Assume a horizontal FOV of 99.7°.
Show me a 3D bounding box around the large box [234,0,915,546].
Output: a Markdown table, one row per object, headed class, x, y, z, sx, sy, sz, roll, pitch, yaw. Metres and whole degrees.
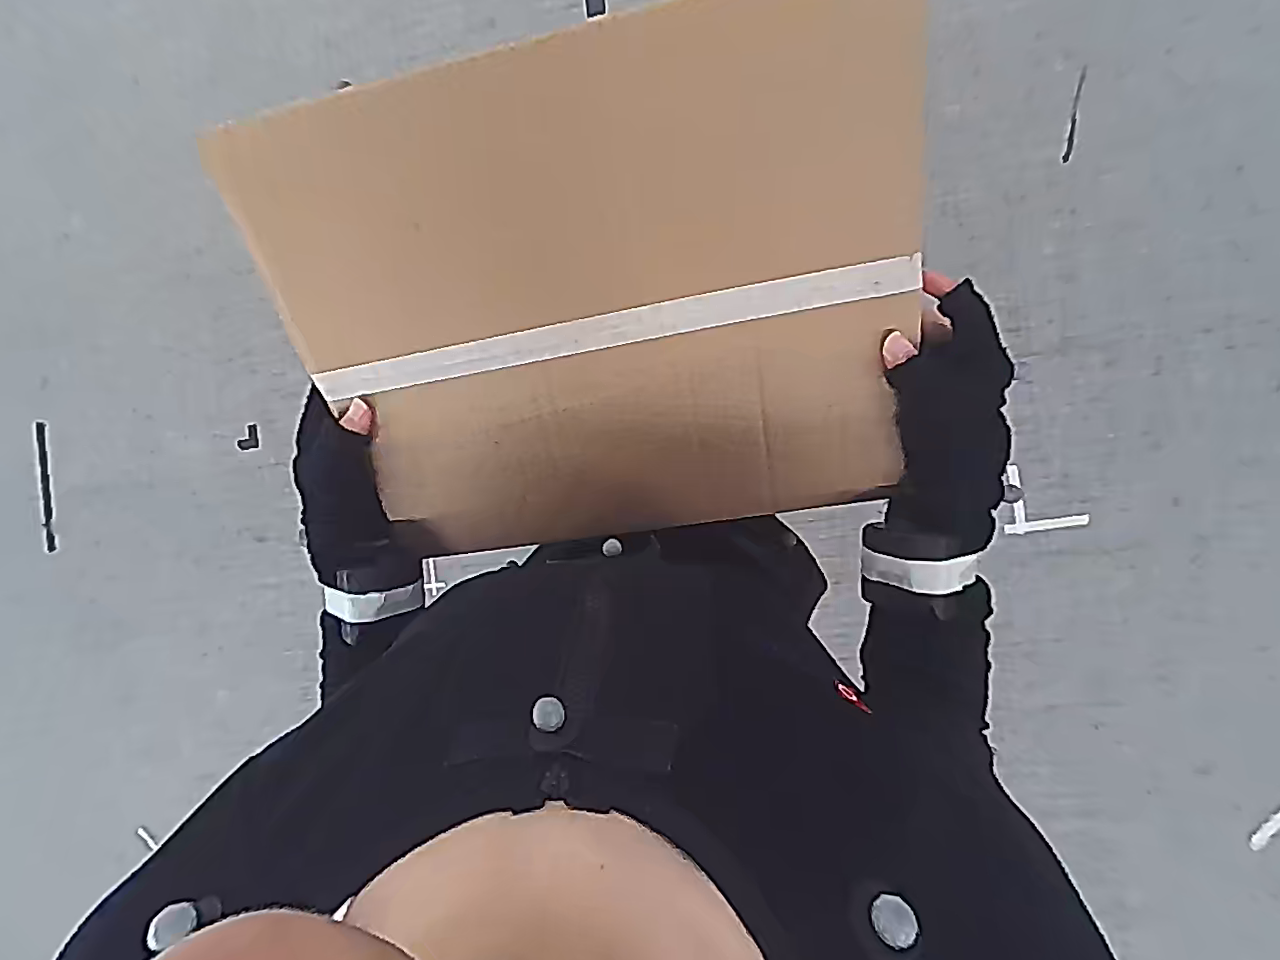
| class | x | y | z | sx | sy | sz | roll | pitch | yaw |
| --- | --- | --- | --- | --- | --- | --- | --- | --- | --- |
| large box | -0.018 | -0.174 | 0.495 | 0.408 | 0.320 | 0.320 | -8 | 118 | 9 |
